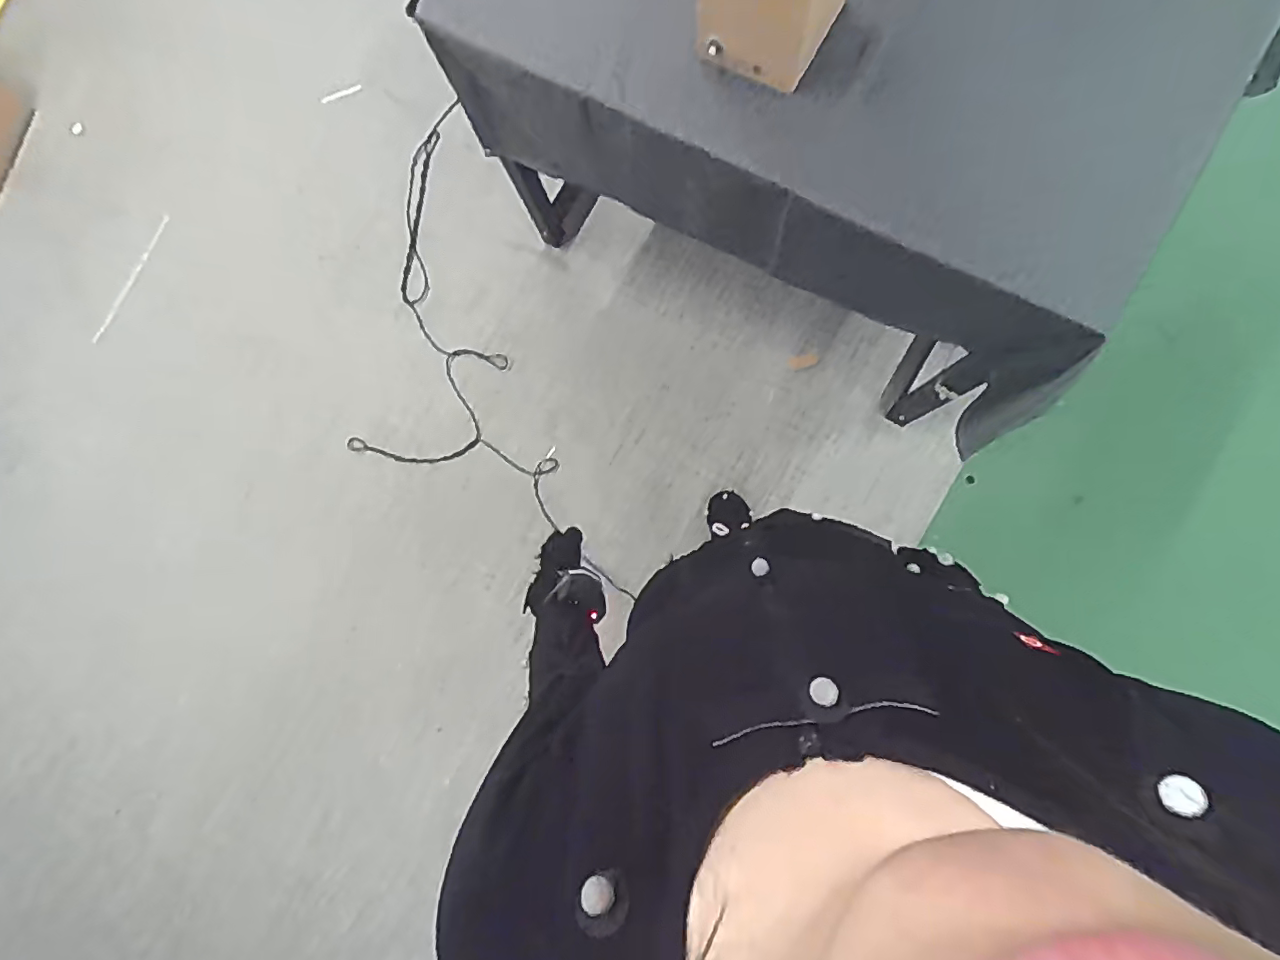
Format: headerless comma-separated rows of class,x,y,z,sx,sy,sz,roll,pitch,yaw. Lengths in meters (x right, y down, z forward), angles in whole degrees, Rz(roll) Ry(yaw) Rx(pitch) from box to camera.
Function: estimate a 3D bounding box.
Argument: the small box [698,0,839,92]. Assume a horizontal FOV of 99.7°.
small box,0.191,-0.706,0.763,0.168,0.176,0.179,29,87,8
